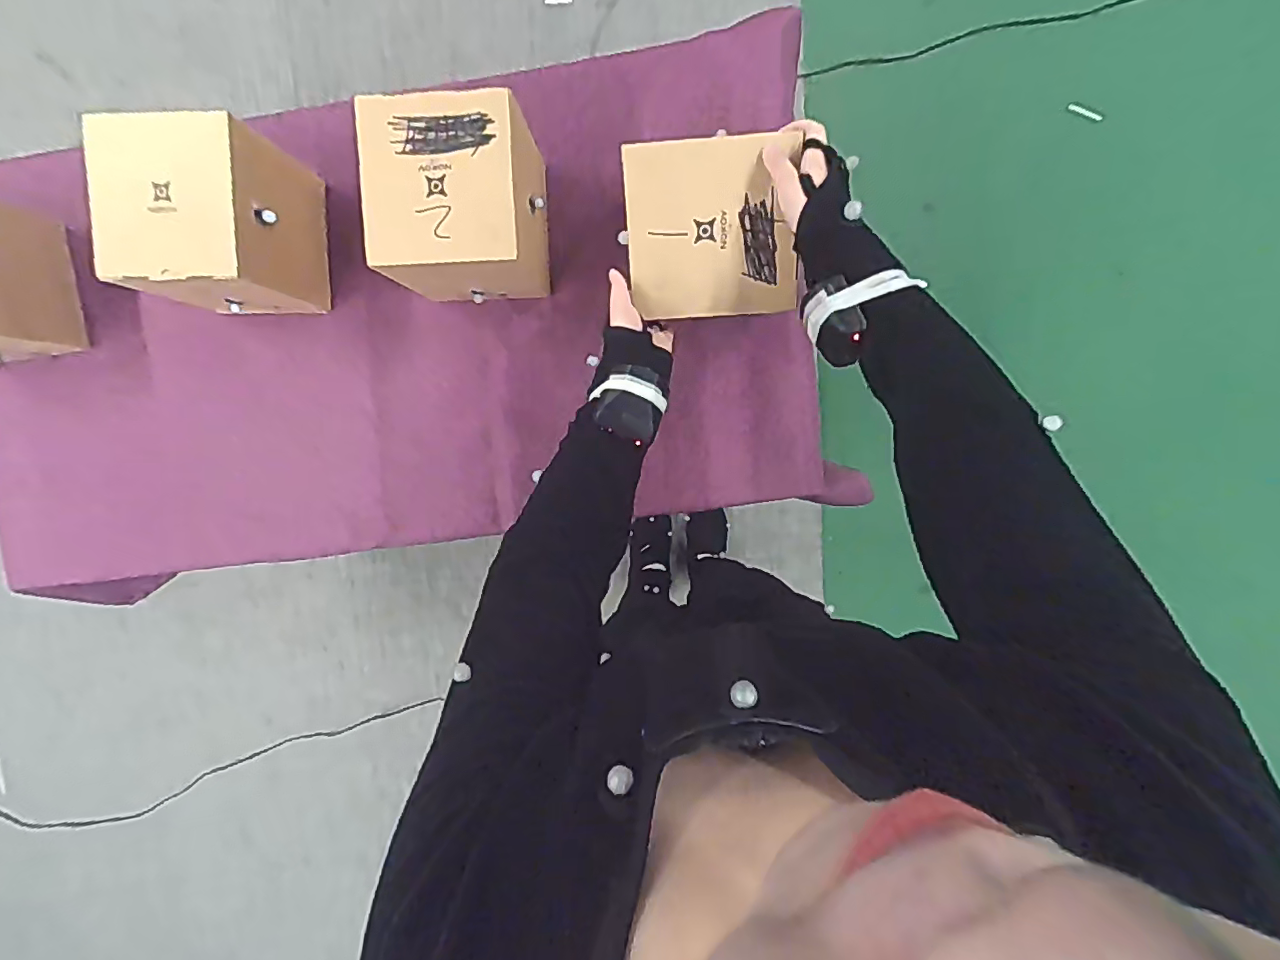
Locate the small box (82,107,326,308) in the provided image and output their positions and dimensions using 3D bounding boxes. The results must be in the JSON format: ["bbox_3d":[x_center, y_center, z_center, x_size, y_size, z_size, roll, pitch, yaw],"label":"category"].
[{"bbox_3d":[-0.517,-0.320,0.667,0.168,0.176,0.179,1,96,3],"label":"small box"}]

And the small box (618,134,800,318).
[{"bbox_3d":[0.071,-0.281,0.616,0.179,0.176,0.168,-1,112,4],"label":"small box"}]

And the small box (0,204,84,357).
[{"bbox_3d":[-0.880,-0.261,0.687,0.168,0.176,0.179,-6,95,4],"label":"small box"}]
